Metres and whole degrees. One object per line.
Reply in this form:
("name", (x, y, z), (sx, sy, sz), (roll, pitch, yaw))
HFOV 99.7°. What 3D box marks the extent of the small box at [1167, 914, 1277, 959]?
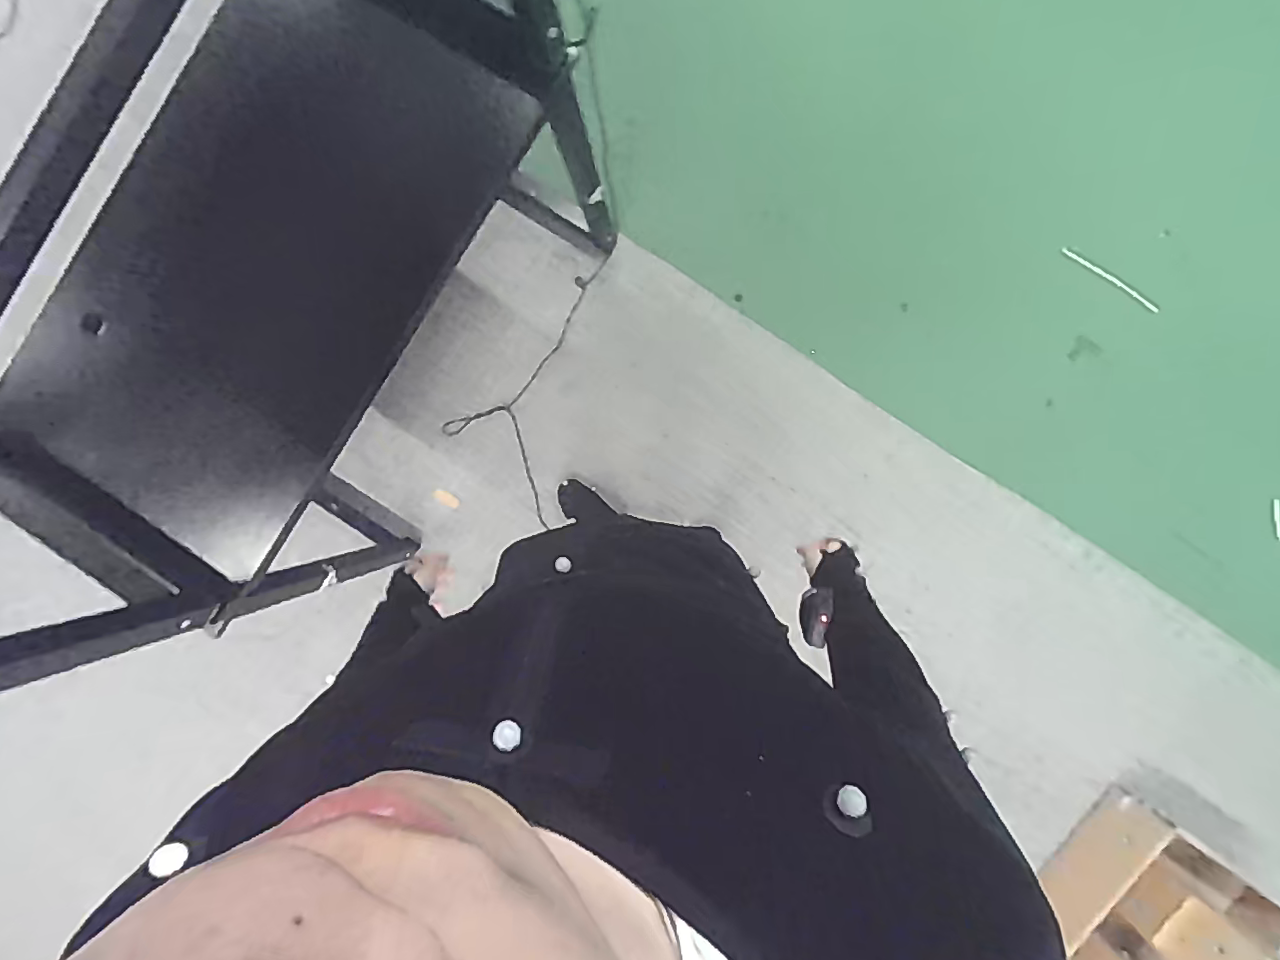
("small box", (1.393, 1.159, 1.242), (0.179, 0.176, 0.168), (33, 94, 3))
